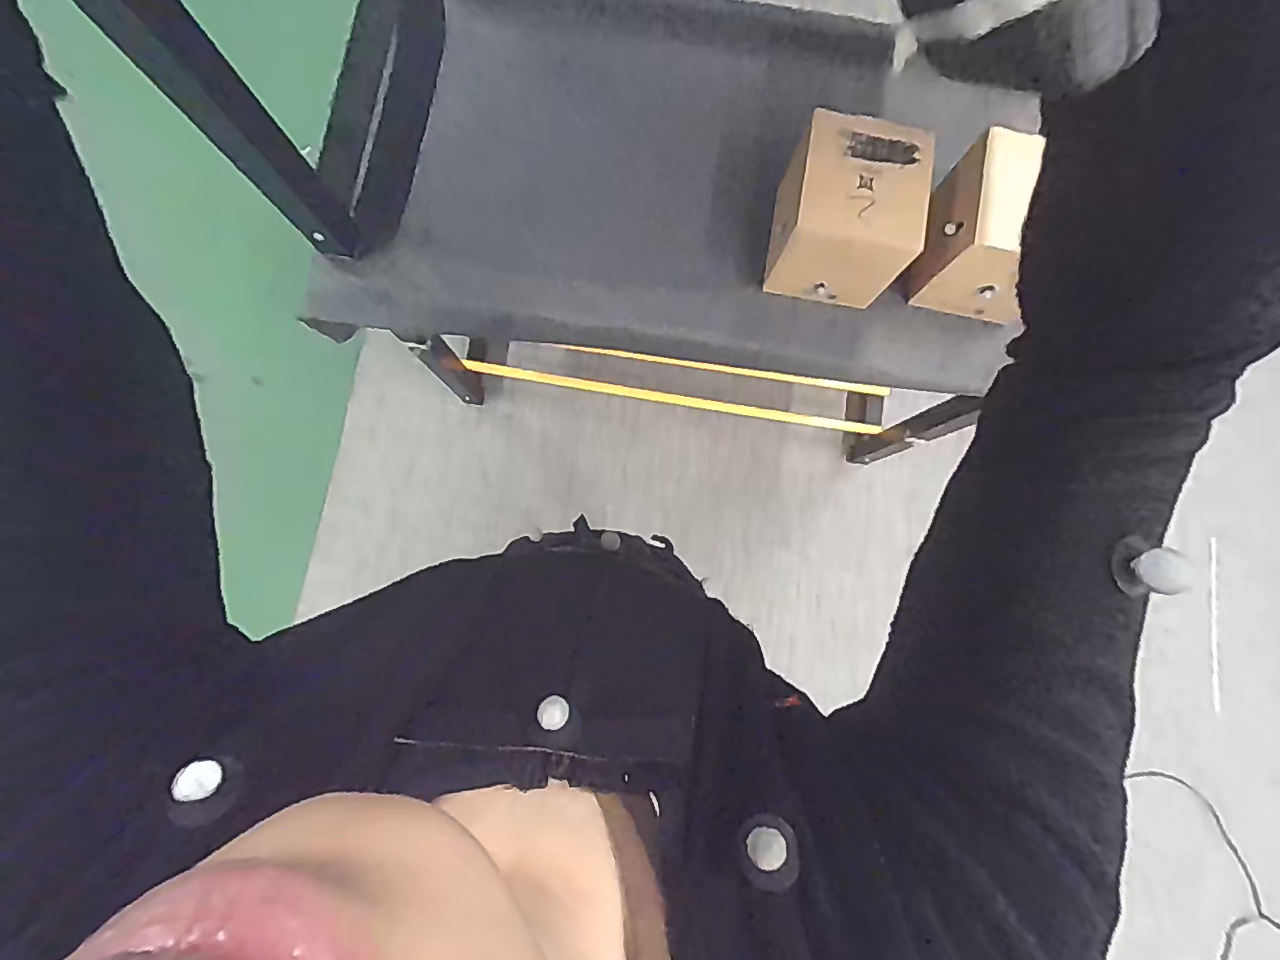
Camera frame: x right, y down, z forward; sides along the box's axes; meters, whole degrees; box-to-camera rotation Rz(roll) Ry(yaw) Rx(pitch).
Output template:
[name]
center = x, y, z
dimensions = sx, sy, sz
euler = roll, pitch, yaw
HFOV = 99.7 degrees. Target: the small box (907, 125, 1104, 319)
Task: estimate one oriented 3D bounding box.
[small box]
center = 0.511, -0.357, 0.778
dimensions = 0.168, 0.176, 0.179
euler = 12, 81, 0
